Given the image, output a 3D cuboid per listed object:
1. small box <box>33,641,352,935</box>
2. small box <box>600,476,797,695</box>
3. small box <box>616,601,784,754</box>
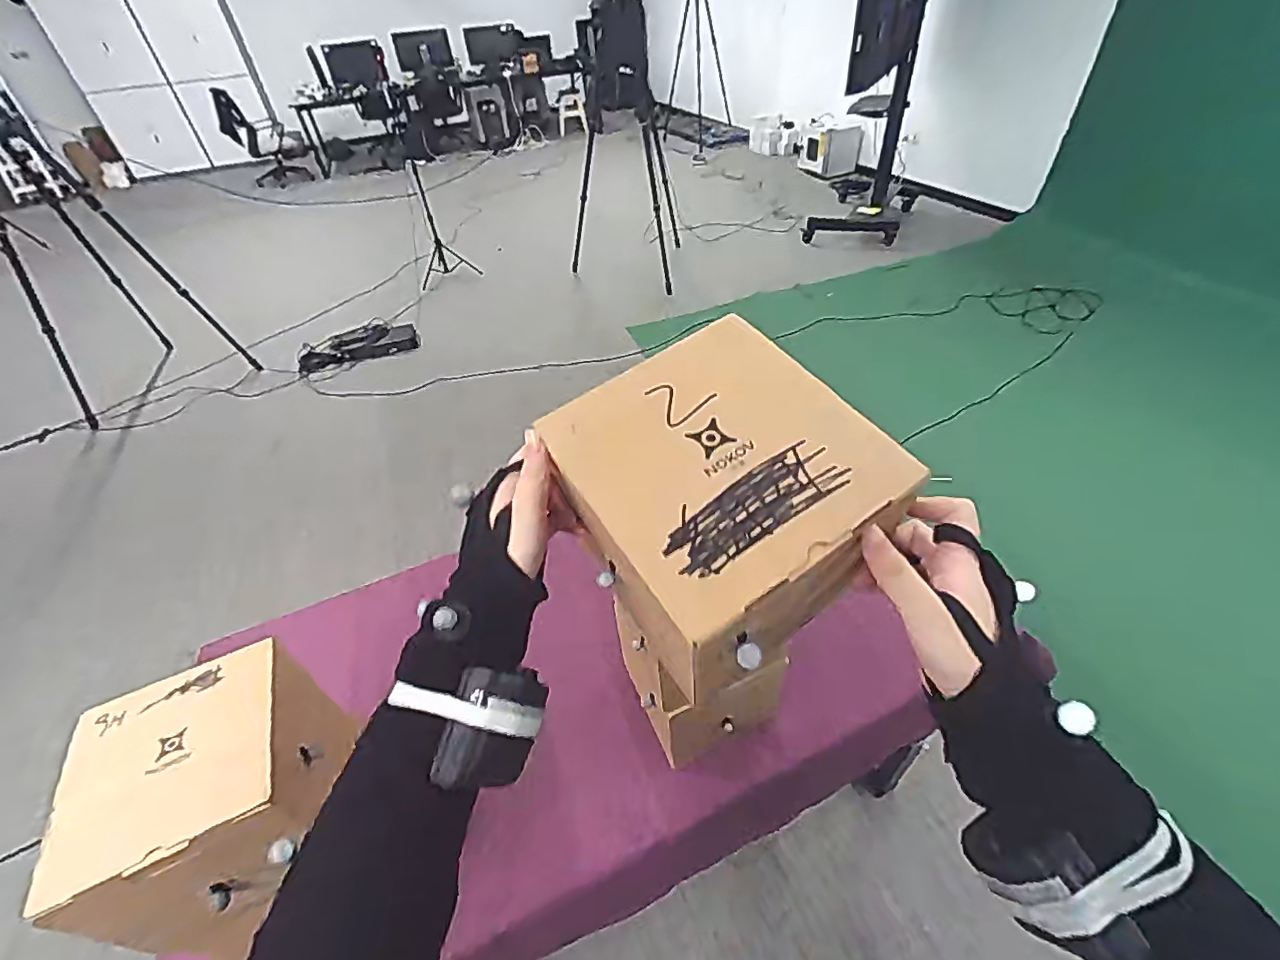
[{"bbox_3d":[-0.400,0.299,0.525,0.168,0.176,0.179,-21,45,-17],"label":"small box"},{"bbox_3d":[0.065,0.130,0.646,0.168,0.176,0.179,-18,43,-12],"label":"small box"},{"bbox_3d":[0.080,0.252,0.754,0.168,0.176,0.179,-19,44,-14],"label":"small box"}]
